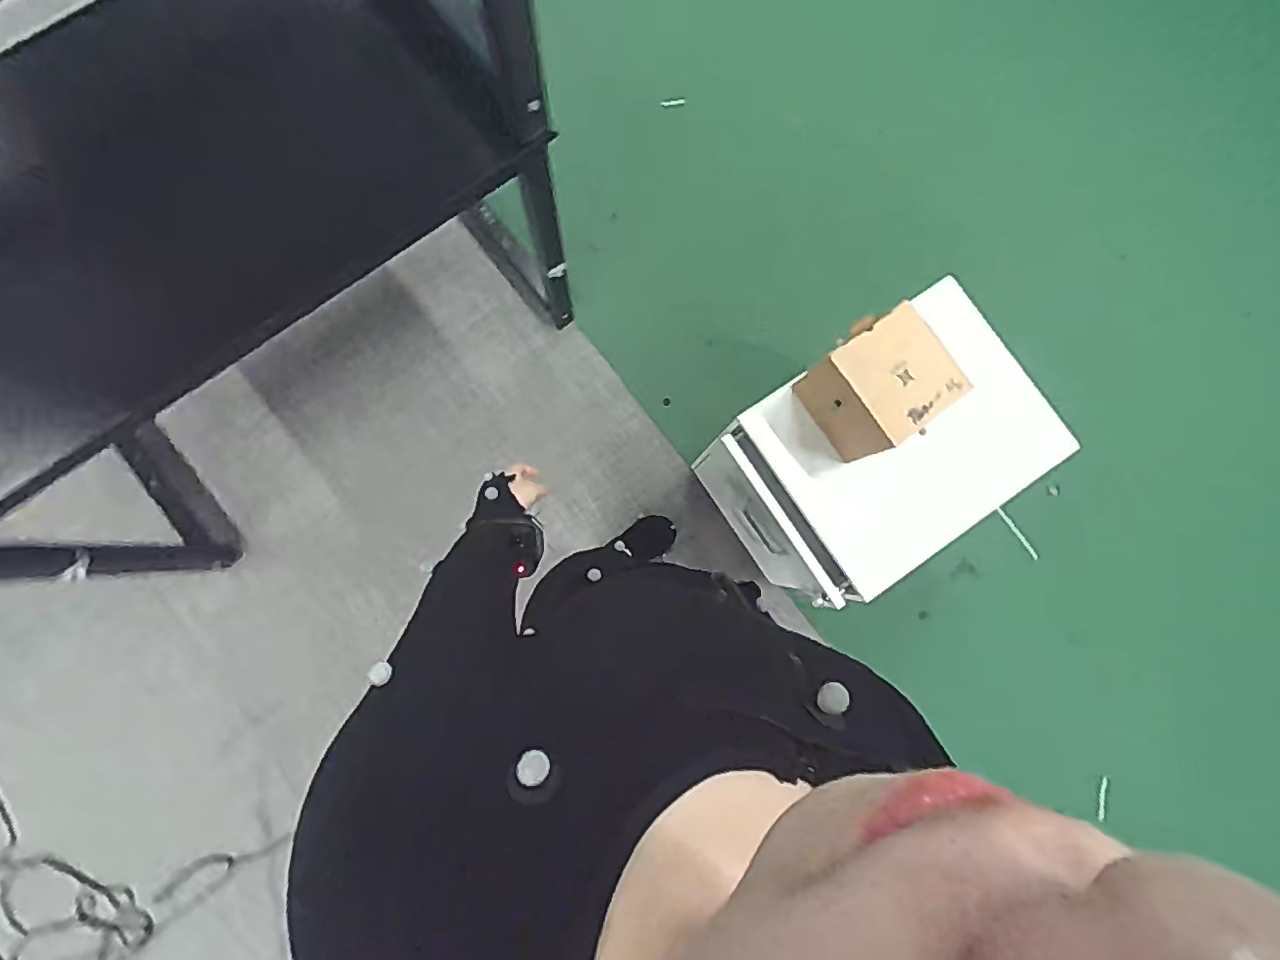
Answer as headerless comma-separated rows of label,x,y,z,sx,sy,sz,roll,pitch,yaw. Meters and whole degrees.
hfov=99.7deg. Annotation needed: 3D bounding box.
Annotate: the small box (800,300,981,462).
small box,0.394,-0.150,0.885,0.168,0.176,0.179,-34,86,-7
